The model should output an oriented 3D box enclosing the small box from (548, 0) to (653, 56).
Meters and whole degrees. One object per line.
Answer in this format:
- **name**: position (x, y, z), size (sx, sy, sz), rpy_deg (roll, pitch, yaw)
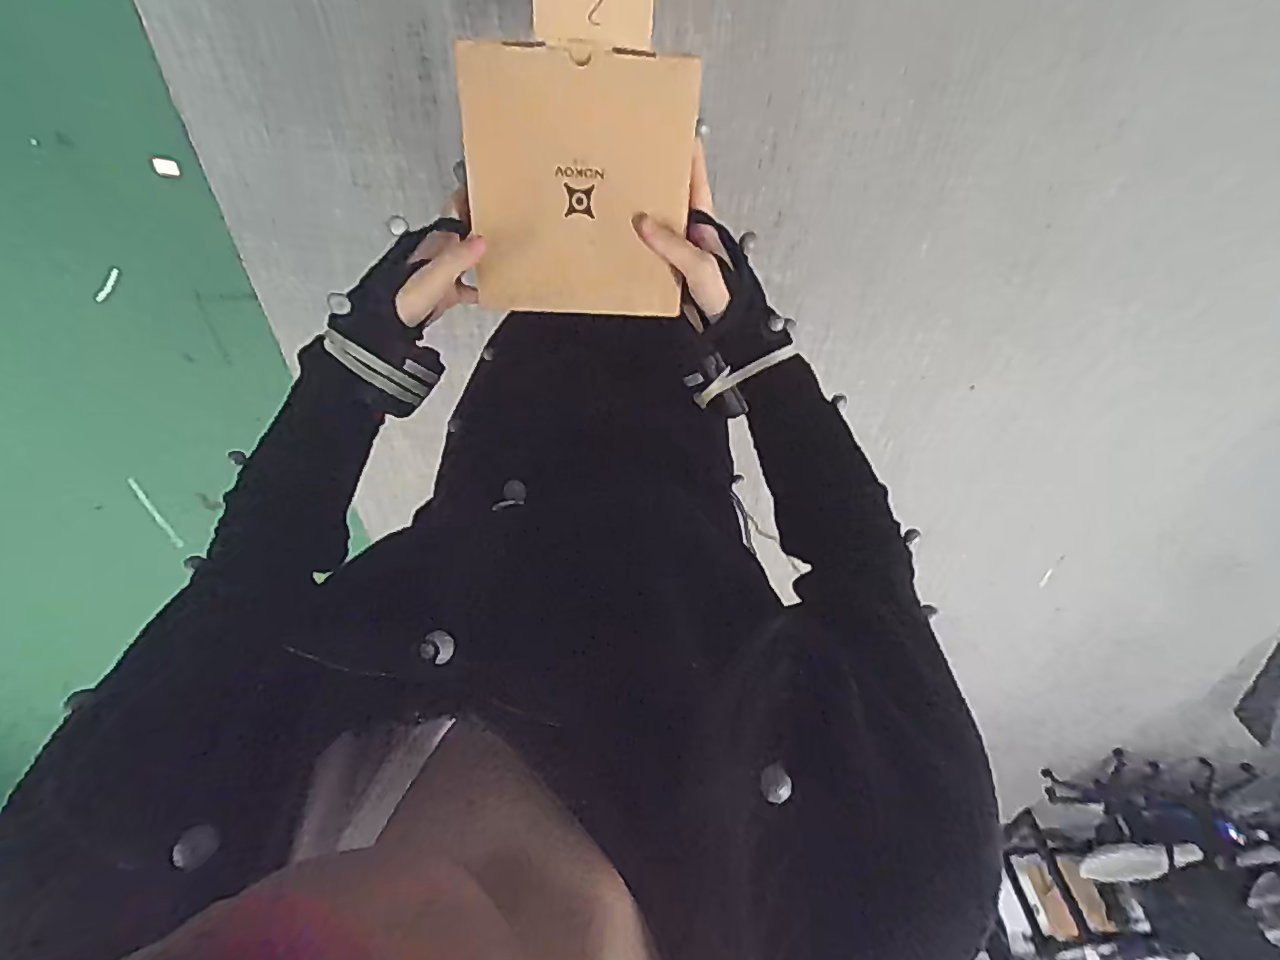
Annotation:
- **small box**: position (-0.057, -0.830, 0.891), size (0.168, 0.176, 0.179), rpy_deg (6, 131, -6)
